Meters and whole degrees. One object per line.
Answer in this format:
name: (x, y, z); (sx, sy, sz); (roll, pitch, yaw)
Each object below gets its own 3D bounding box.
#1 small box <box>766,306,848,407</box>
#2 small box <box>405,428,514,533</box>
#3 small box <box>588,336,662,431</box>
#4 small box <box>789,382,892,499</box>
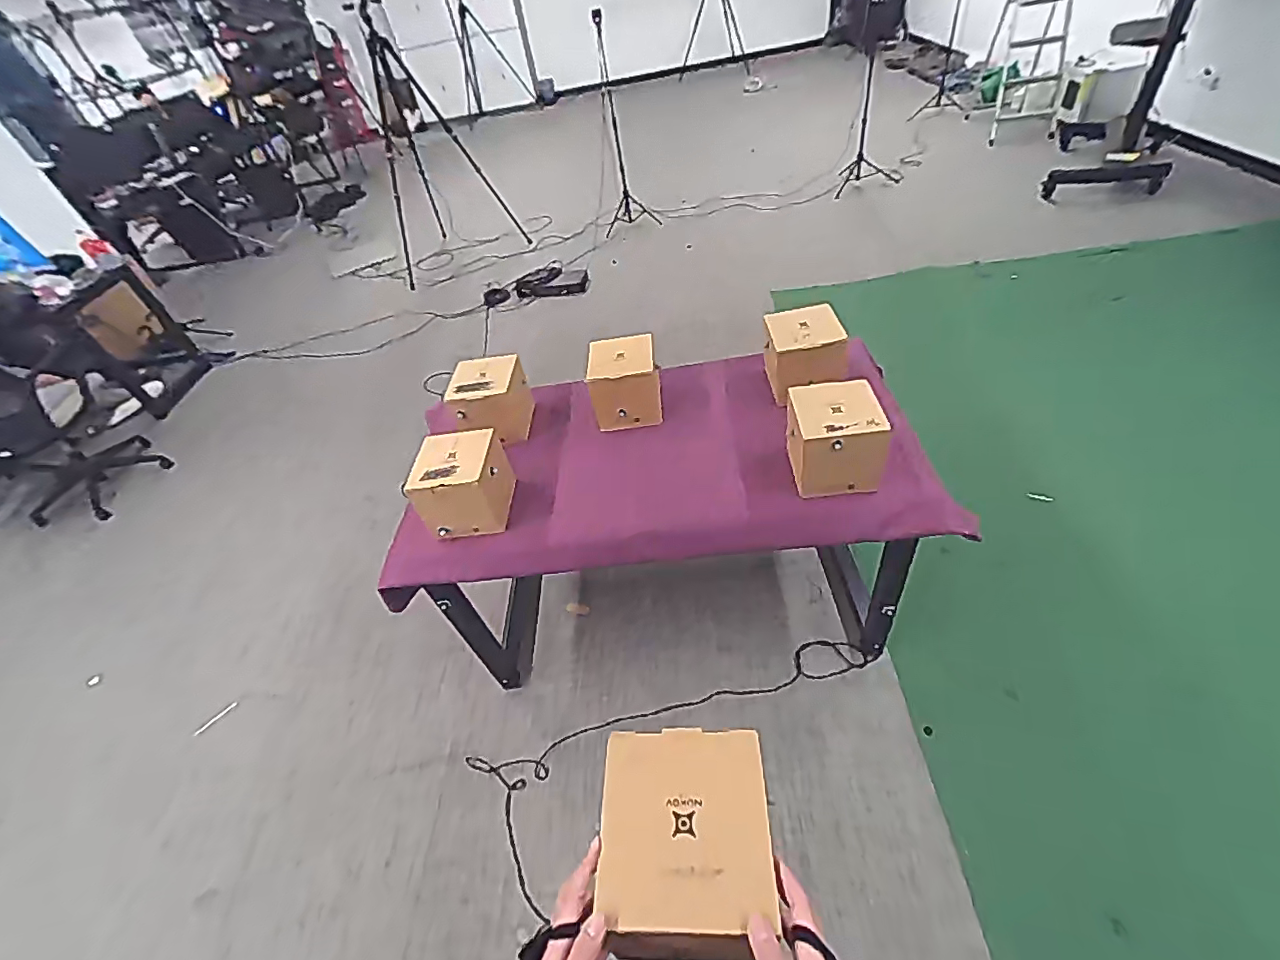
small box: (0.415, -0.310, 1.367); (0.168, 0.176, 0.179); (-9, 45, 7)
small box: (-0.397, 0.008, 1.227); (0.168, 0.176, 0.179); (-6, 44, 5)
small box: (-0.034, -0.251, 1.412); (0.168, 0.176, 0.179); (-6, 46, 5)
small box: (0.411, -0.082, 1.143); (0.168, 0.176, 0.179); (-6, 42, 8)
